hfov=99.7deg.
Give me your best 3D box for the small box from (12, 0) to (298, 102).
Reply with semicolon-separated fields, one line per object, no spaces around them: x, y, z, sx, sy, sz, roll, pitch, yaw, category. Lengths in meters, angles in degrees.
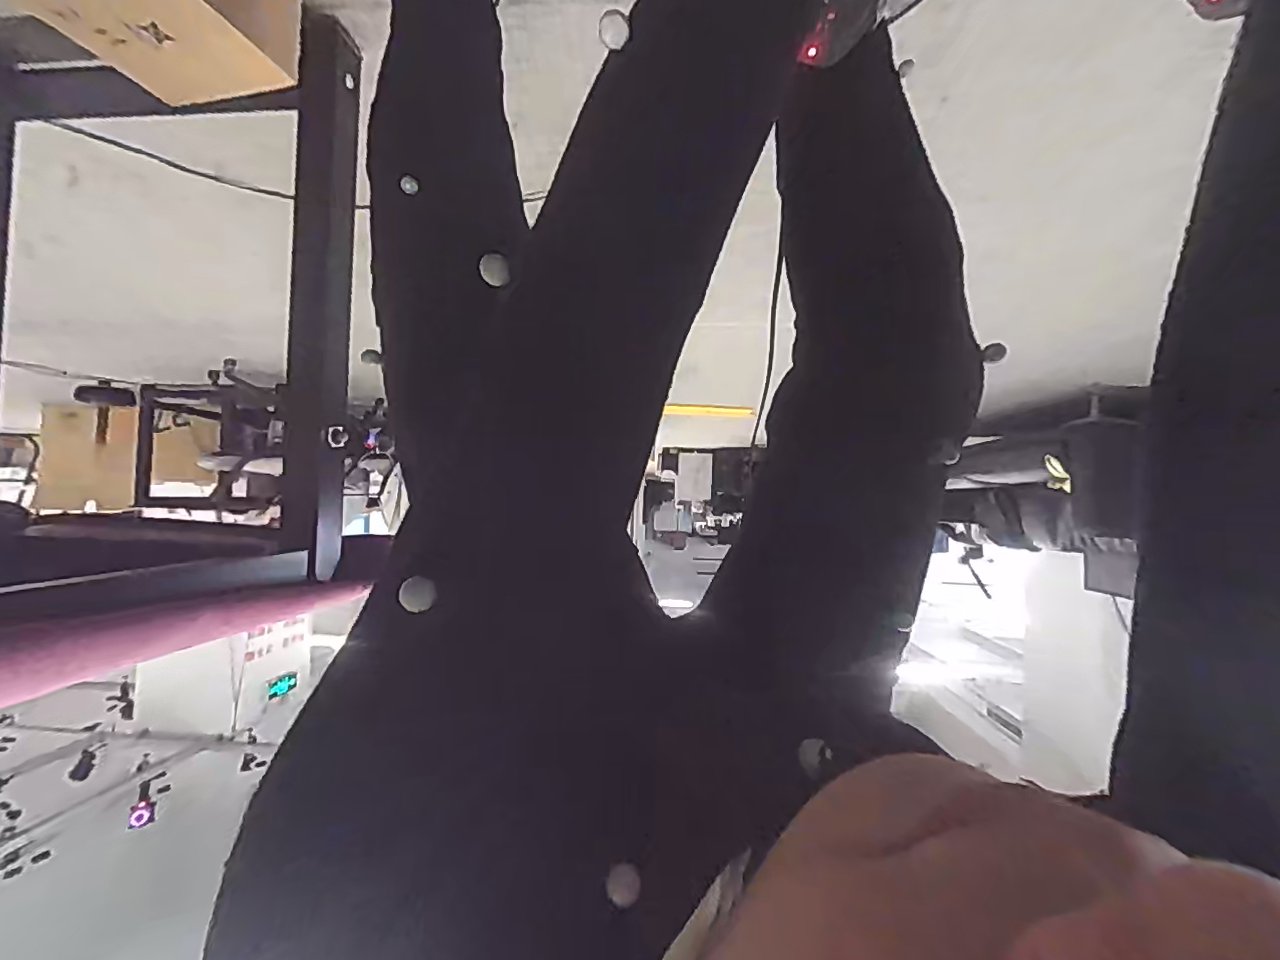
-0.452;-0.497;0.498;0.179;0.176;0.168;1;178;13;small box
